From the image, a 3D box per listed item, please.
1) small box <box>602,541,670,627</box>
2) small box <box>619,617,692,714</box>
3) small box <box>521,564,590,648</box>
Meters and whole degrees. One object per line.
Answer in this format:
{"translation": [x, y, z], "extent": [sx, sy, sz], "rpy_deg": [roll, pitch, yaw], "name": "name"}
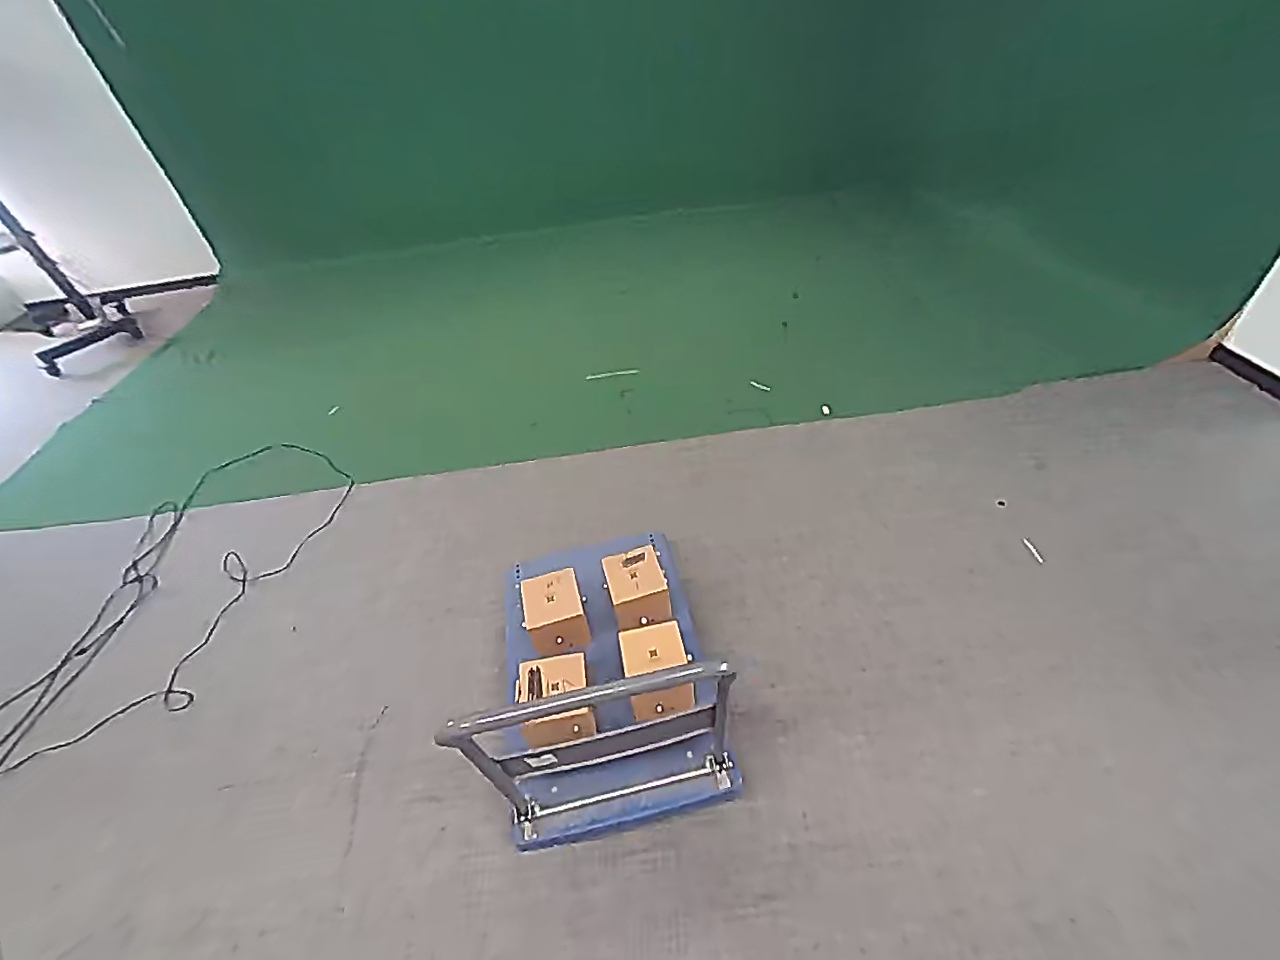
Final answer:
{"translation": [-0.011, 0.322, 1.661], "extent": [0.168, 0.176, 0.179], "rpy_deg": [-15, 46, -6], "name": "small box"}
{"translation": [0.042, 0.505, 1.470], "extent": [0.168, 0.176, 0.179], "rpy_deg": [-11, 45, -3], "name": "small box"}
{"translation": [-0.253, 0.386, 1.631], "extent": [0.168, 0.176, 0.179], "rpy_deg": [-14, 45, -7], "name": "small box"}
